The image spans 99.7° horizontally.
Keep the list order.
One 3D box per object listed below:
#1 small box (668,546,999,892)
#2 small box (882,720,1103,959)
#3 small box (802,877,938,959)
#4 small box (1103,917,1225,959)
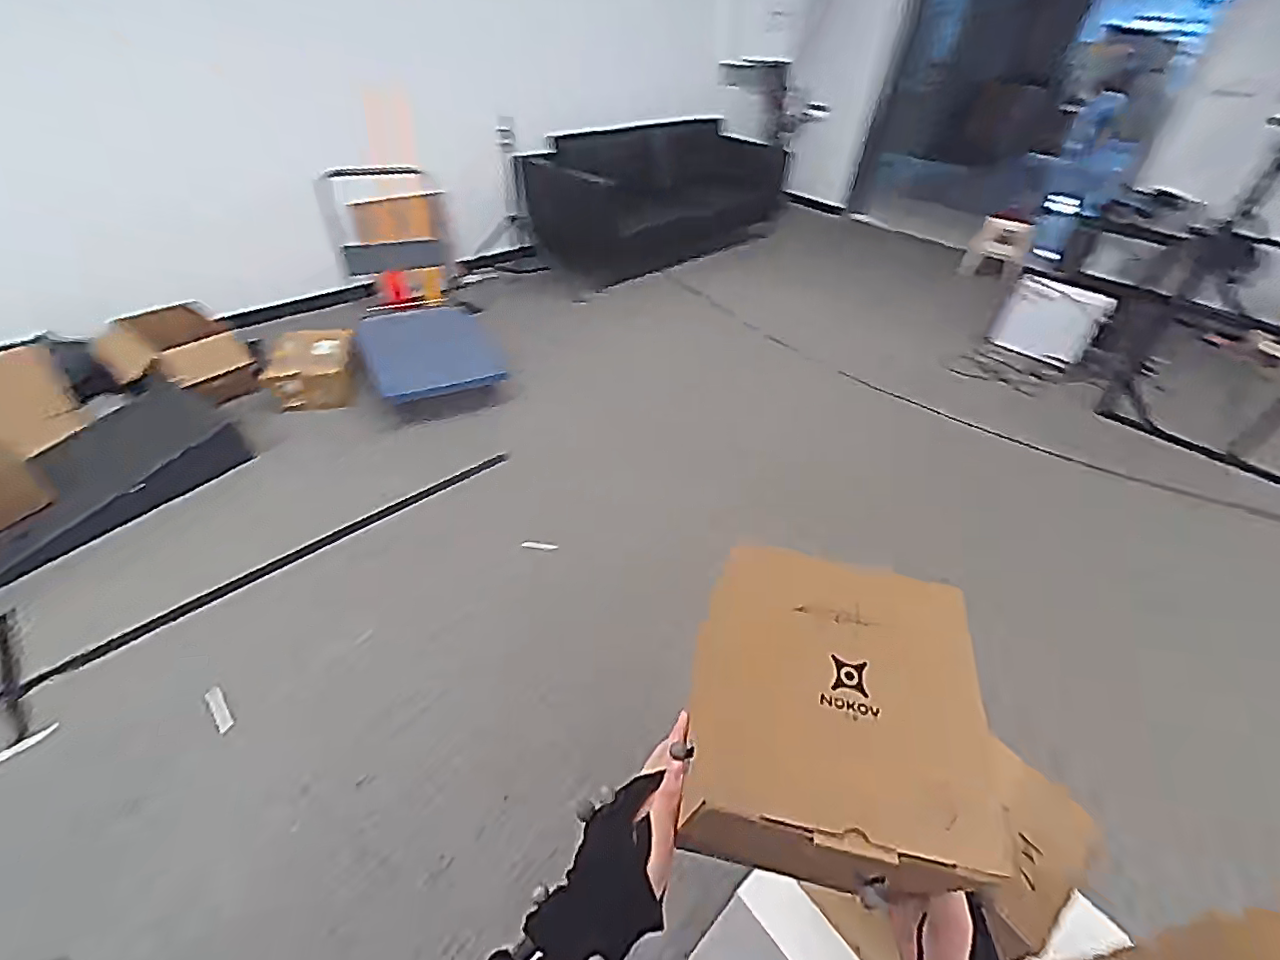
[{"bbox_3d":[0.118,0.179,0.398,0.168,0.176,0.179,11,50,4],"label":"small box"},{"bbox_3d":[0.353,0.400,0.613,0.168,0.176,0.179,-26,50,-30],"label":"small box"},{"bbox_3d":[0.345,0.523,0.723,0.179,0.176,0.168,-24,49,-31],"label":"small box"},{"bbox_3d":[0.517,0.544,0.469,0.179,0.176,0.168,-27,50,-32],"label":"small box"}]
